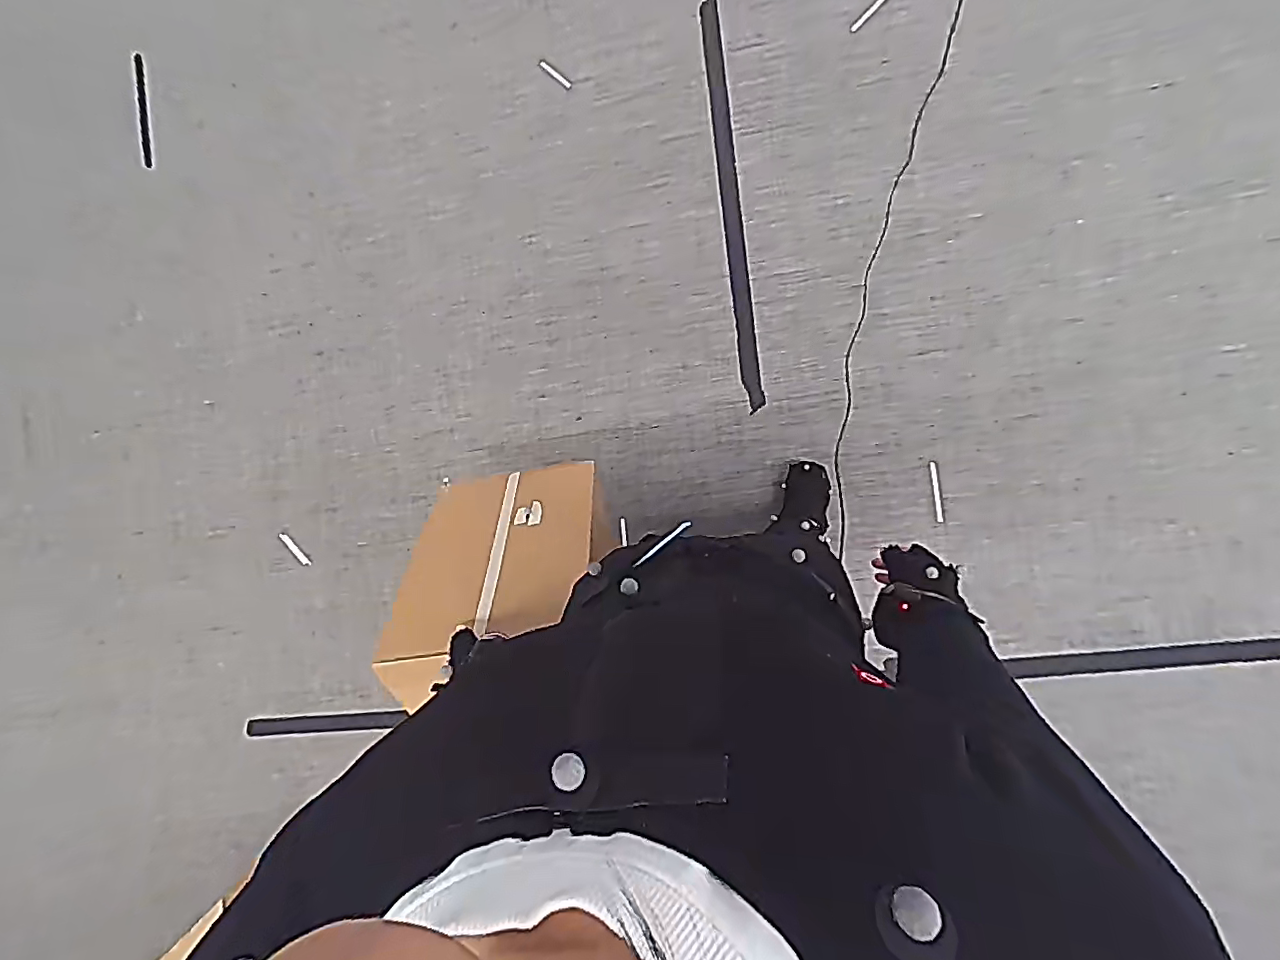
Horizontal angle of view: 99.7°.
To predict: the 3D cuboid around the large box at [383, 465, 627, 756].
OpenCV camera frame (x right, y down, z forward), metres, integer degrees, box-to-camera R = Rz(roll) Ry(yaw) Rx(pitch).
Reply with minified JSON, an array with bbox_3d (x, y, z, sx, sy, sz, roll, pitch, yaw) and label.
[{"bbox_3d":[-0.205,0.229,1.004,0.320,0.408,0.320,-7,128,3],"label":"large box"}]
